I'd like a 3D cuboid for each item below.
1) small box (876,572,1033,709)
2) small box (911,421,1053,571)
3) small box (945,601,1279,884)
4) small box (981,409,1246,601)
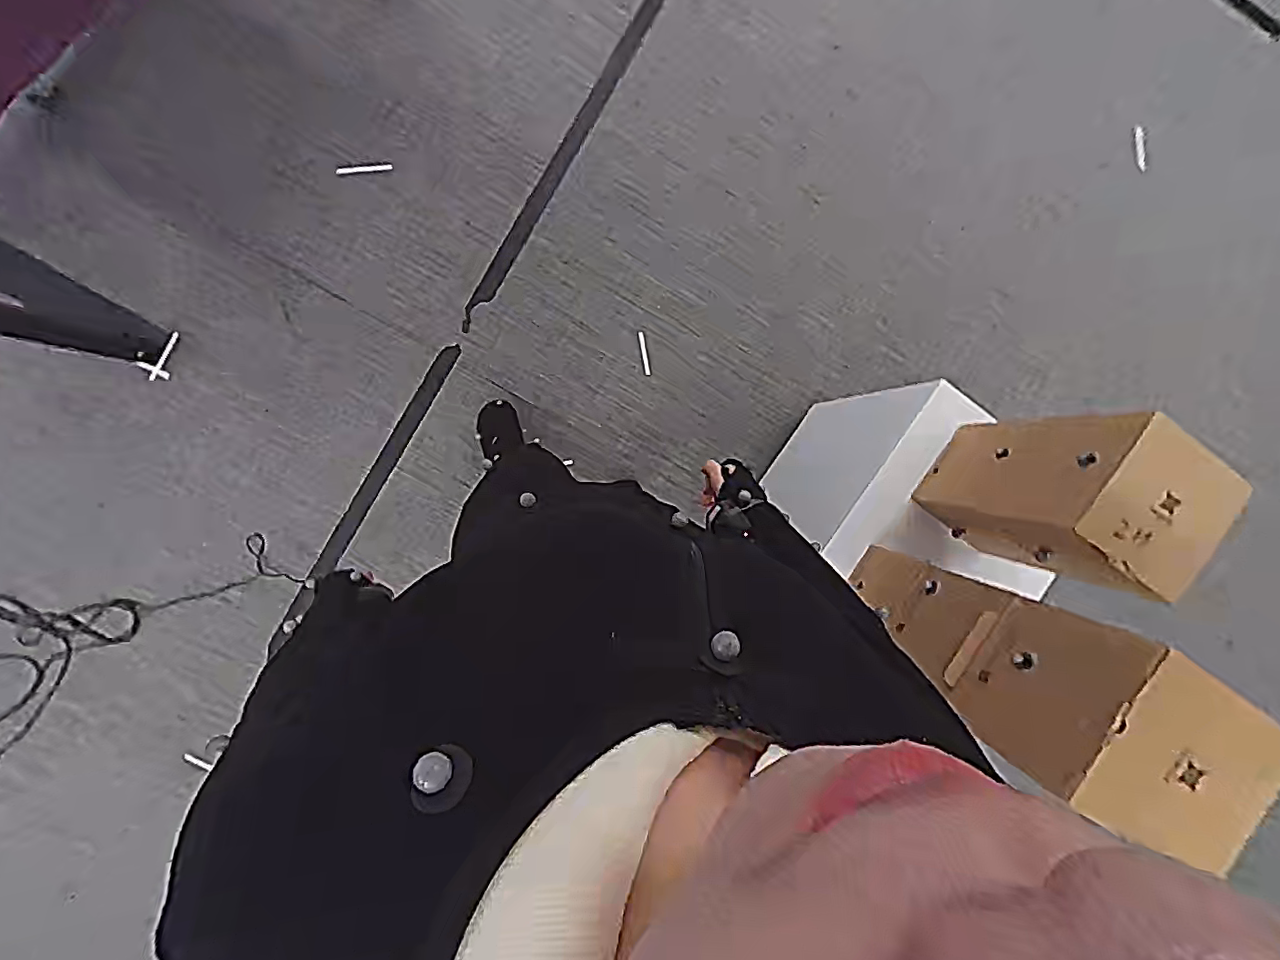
[{"bbox_3d":[0.458,0.239,0.722,0.179,0.176,0.168,34,90,-7],"label":"small box"},{"bbox_3d":[0.597,0.018,0.886,0.179,0.176,0.168,36,89,-8],"label":"small box"},{"bbox_3d":[0.471,0.249,0.560,0.179,0.176,0.168,34,90,-6],"label":"small box"},{"bbox_3d":[0.609,0.026,0.721,0.168,0.176,0.179,36,90,-6],"label":"small box"}]
